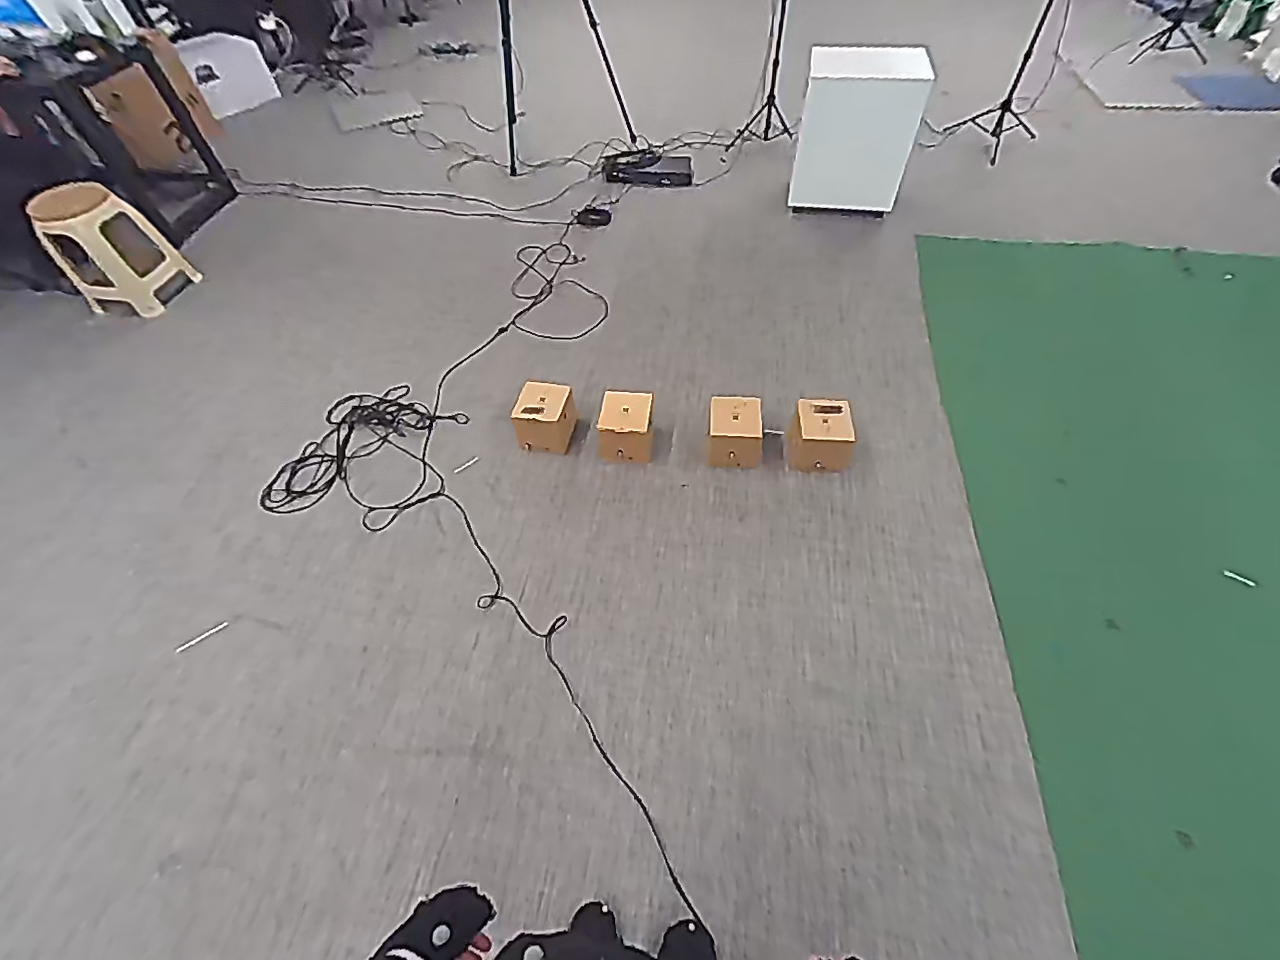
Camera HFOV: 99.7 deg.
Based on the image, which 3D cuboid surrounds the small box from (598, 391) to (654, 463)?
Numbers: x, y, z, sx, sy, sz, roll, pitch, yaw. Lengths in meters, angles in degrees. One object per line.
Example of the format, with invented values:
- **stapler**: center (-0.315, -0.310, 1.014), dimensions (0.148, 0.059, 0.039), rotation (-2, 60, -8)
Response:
- **small box**: center (-0.043, -0.182, 1.865), dimensions (0.168, 0.176, 0.179), rotation (4, 55, 6)

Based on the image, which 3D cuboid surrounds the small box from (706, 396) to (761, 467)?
- **small box**: center (0.314, -0.160, 1.829), dimensions (0.168, 0.176, 0.179), rotation (3, 54, 4)

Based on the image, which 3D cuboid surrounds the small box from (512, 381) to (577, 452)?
- **small box**: center (-0.329, -0.220, 1.905), dimensions (0.168, 0.176, 0.179), rotation (8, 54, 9)
